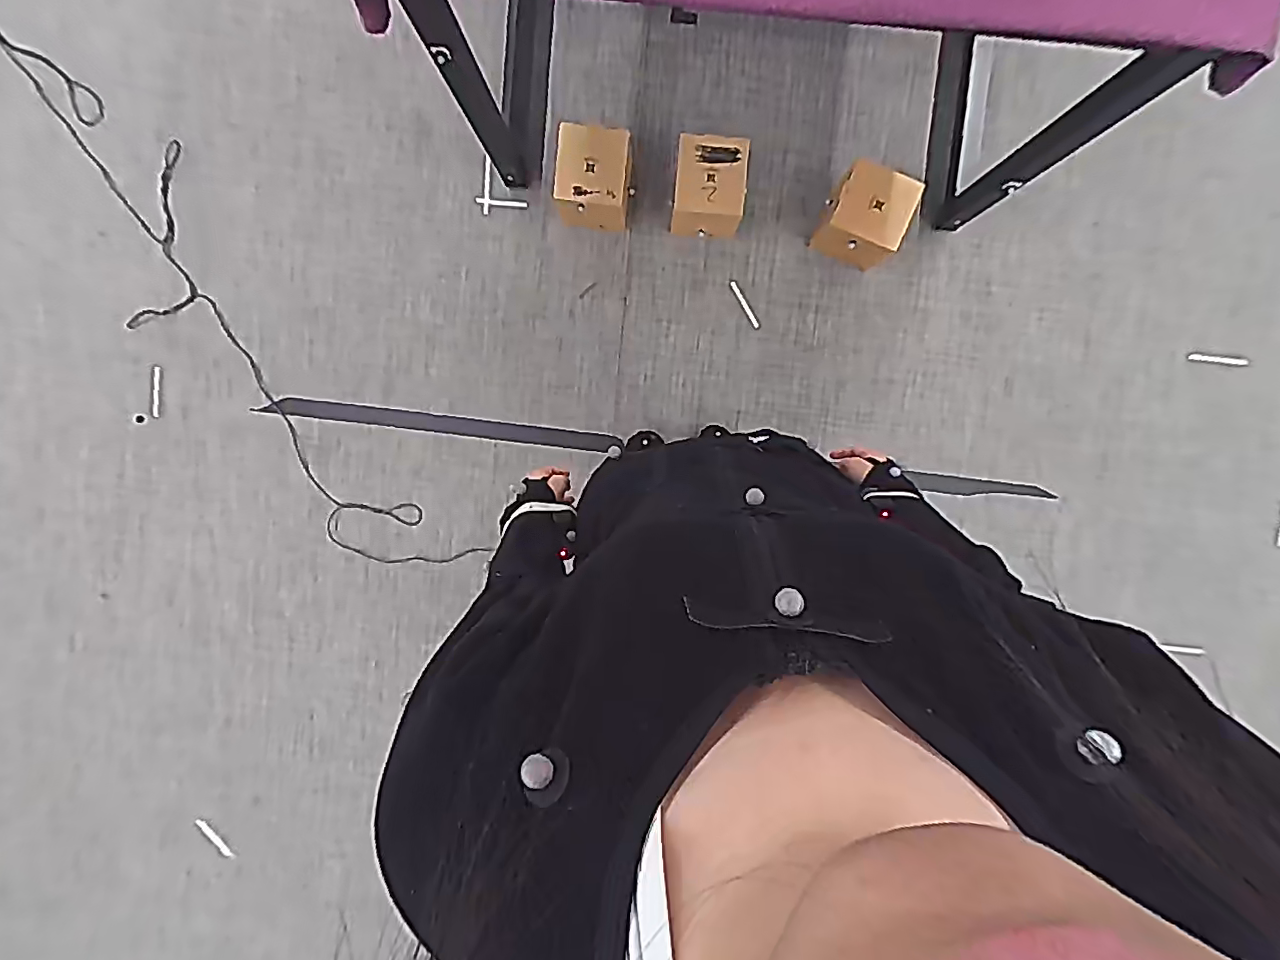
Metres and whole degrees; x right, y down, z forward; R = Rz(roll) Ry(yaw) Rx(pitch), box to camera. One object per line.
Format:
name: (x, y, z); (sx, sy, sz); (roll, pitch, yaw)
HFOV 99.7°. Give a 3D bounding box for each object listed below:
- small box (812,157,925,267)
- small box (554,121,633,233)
small box: (0.557, -0.652, 1.342); (0.179, 0.176, 0.168); (23, 96, 0)
small box: (-0.110, -0.744, 1.343); (0.168, 0.176, 0.179); (8, 94, 0)
